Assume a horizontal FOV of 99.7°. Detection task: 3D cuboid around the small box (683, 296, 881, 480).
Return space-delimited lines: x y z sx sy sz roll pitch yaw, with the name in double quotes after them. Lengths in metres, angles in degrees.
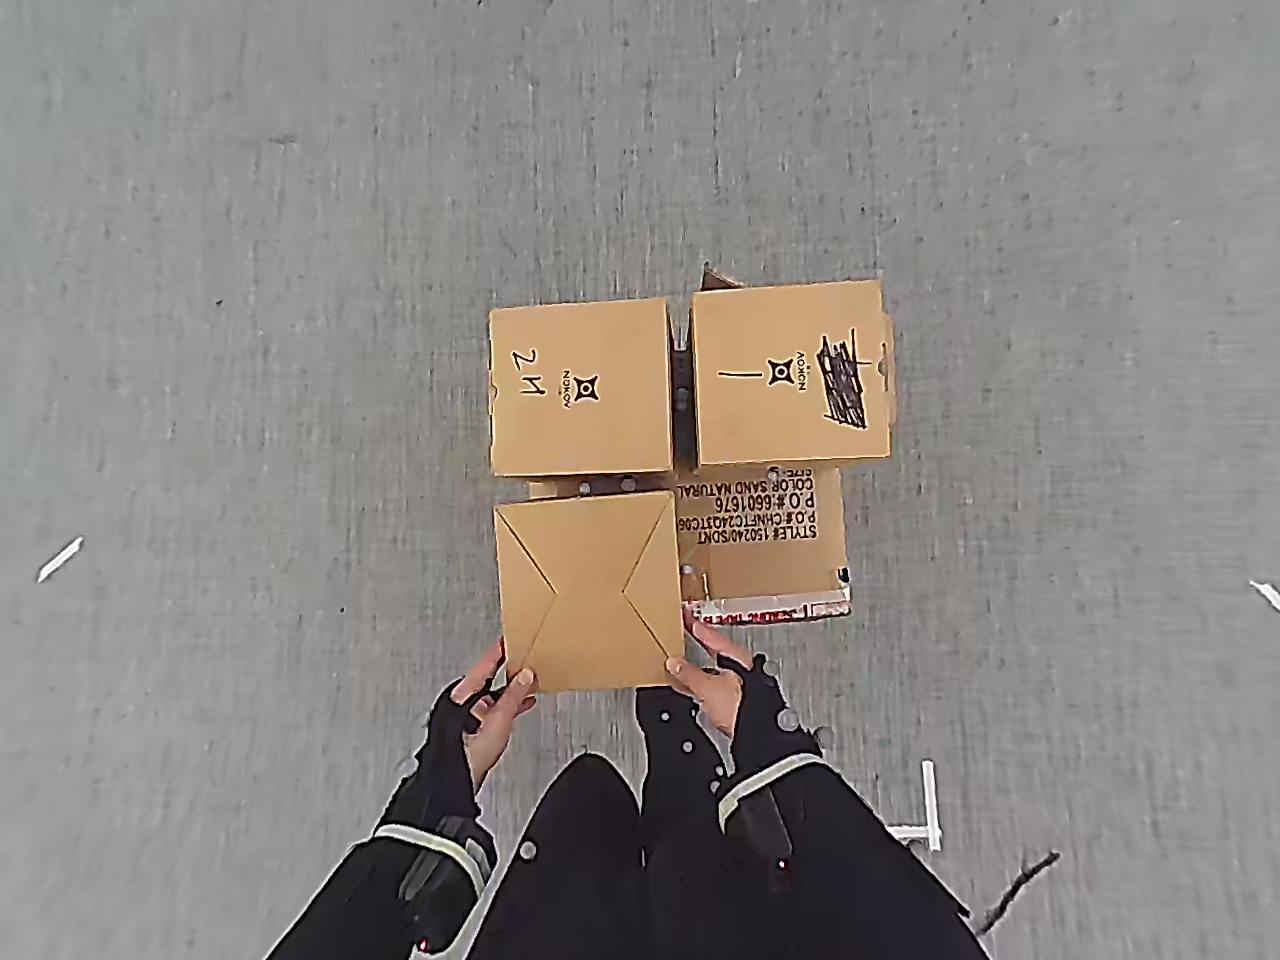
0.139 -0.087 0.587 0.179 0.176 0.168 -3 87 3 "small box"
